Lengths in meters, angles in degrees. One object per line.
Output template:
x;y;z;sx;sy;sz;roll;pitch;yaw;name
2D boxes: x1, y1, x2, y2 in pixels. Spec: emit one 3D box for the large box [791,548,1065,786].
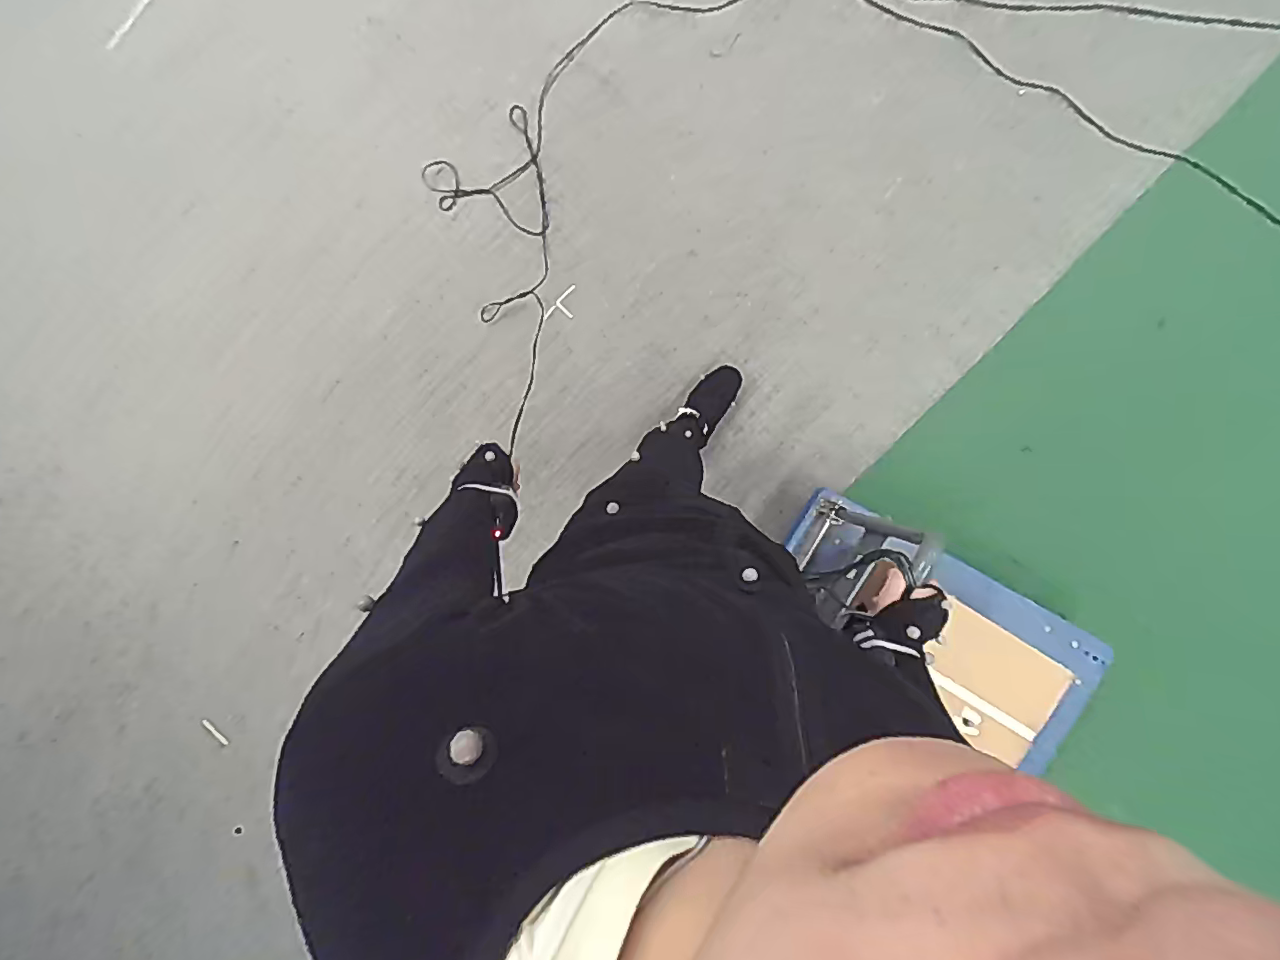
0.636;0.407;1.273;0.408;0.320;0.320;32;93;0;large box
